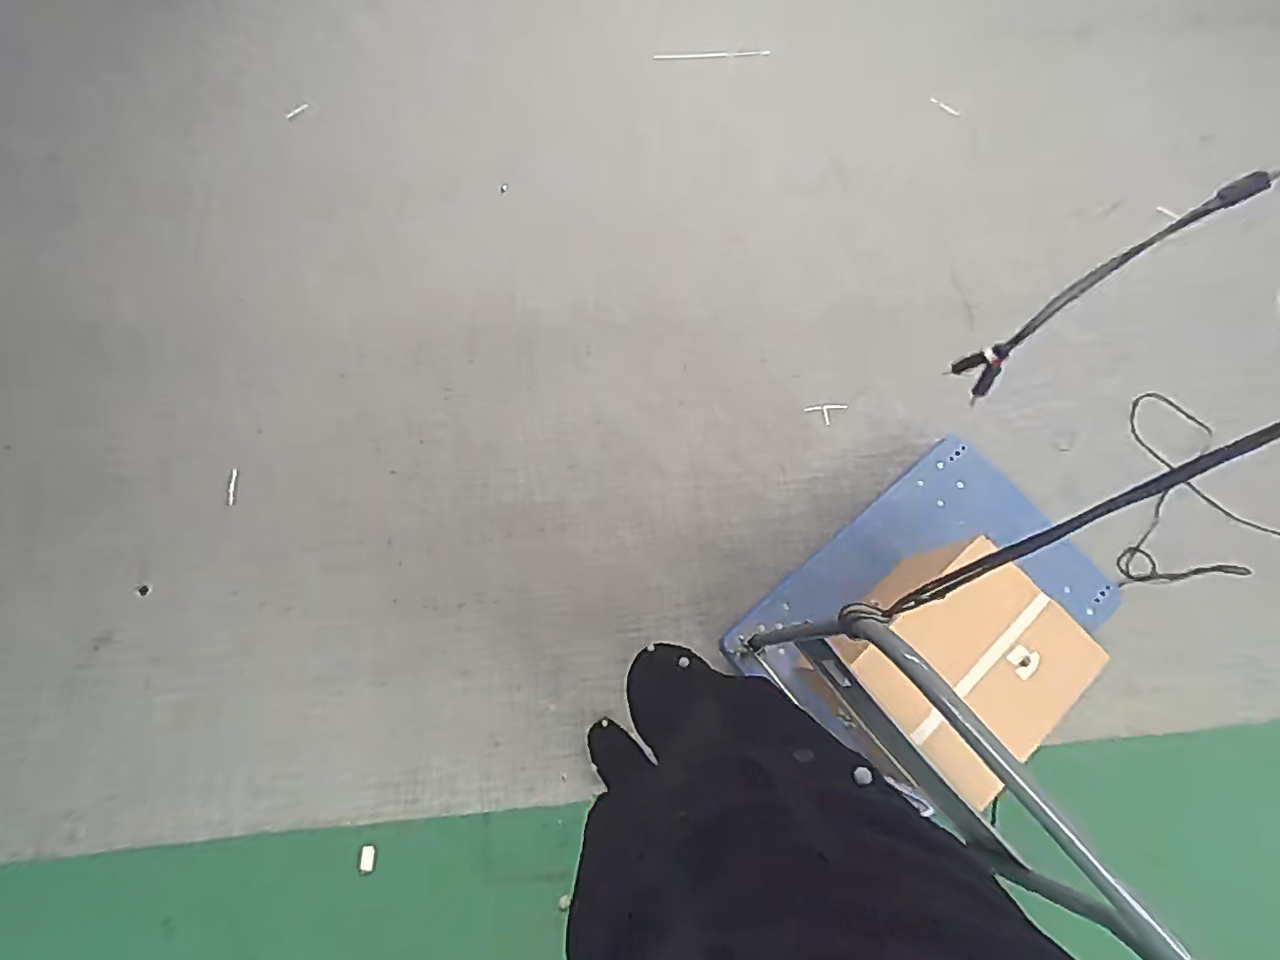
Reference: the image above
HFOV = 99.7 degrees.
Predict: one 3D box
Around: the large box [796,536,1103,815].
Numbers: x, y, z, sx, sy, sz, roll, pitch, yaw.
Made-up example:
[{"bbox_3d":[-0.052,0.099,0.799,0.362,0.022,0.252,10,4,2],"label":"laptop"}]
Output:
[{"bbox_3d":[0.608,0.387,1.130,0.408,0.320,0.320,-38,78,-14],"label":"large box"}]
